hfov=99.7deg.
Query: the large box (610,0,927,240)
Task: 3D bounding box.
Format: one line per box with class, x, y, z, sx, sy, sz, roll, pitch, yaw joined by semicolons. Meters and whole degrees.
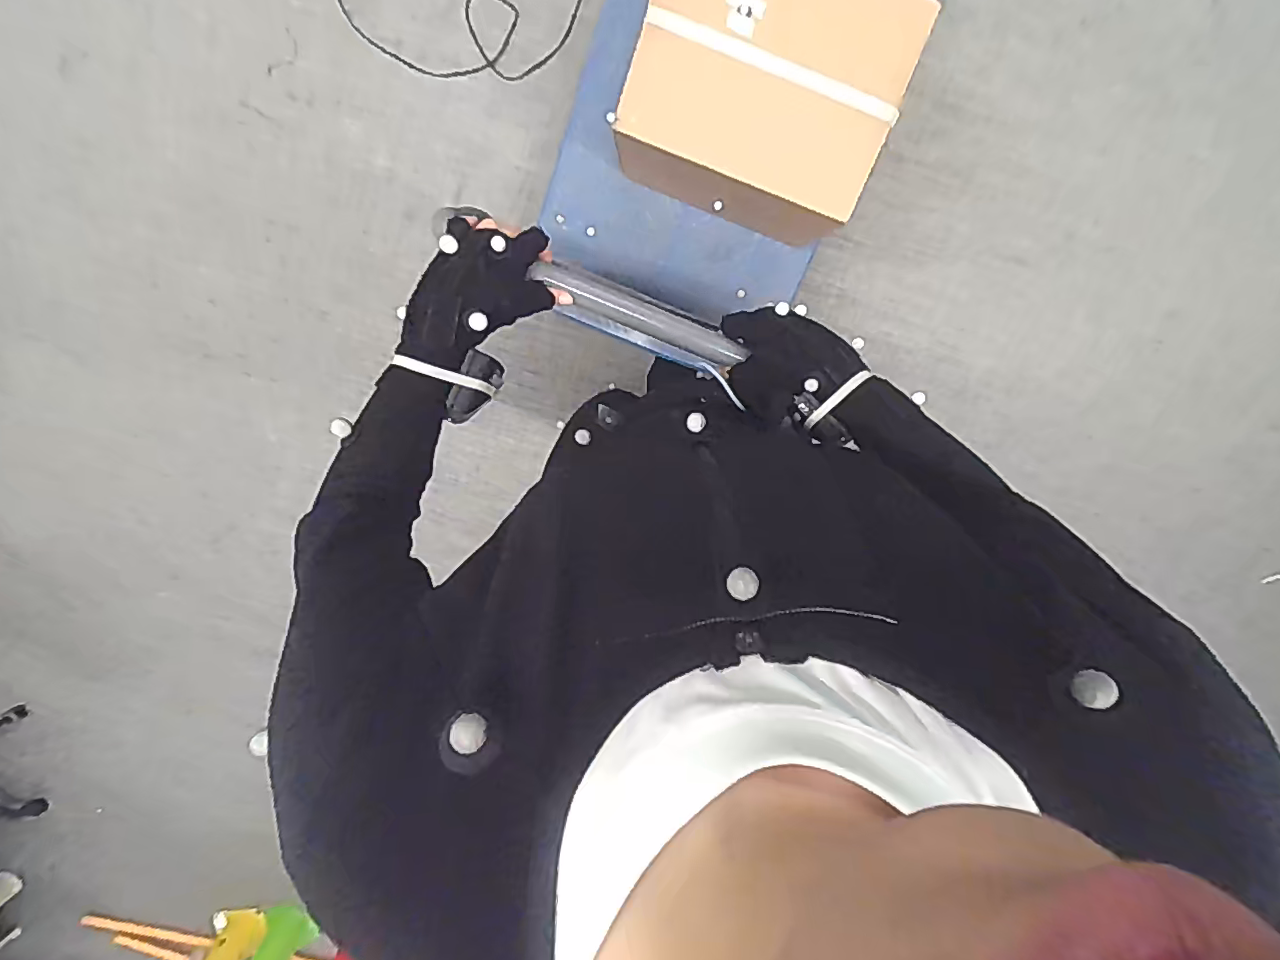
large box;0.197;-0.666;0.966;0.408;0.320;0.320;20;106;-3
